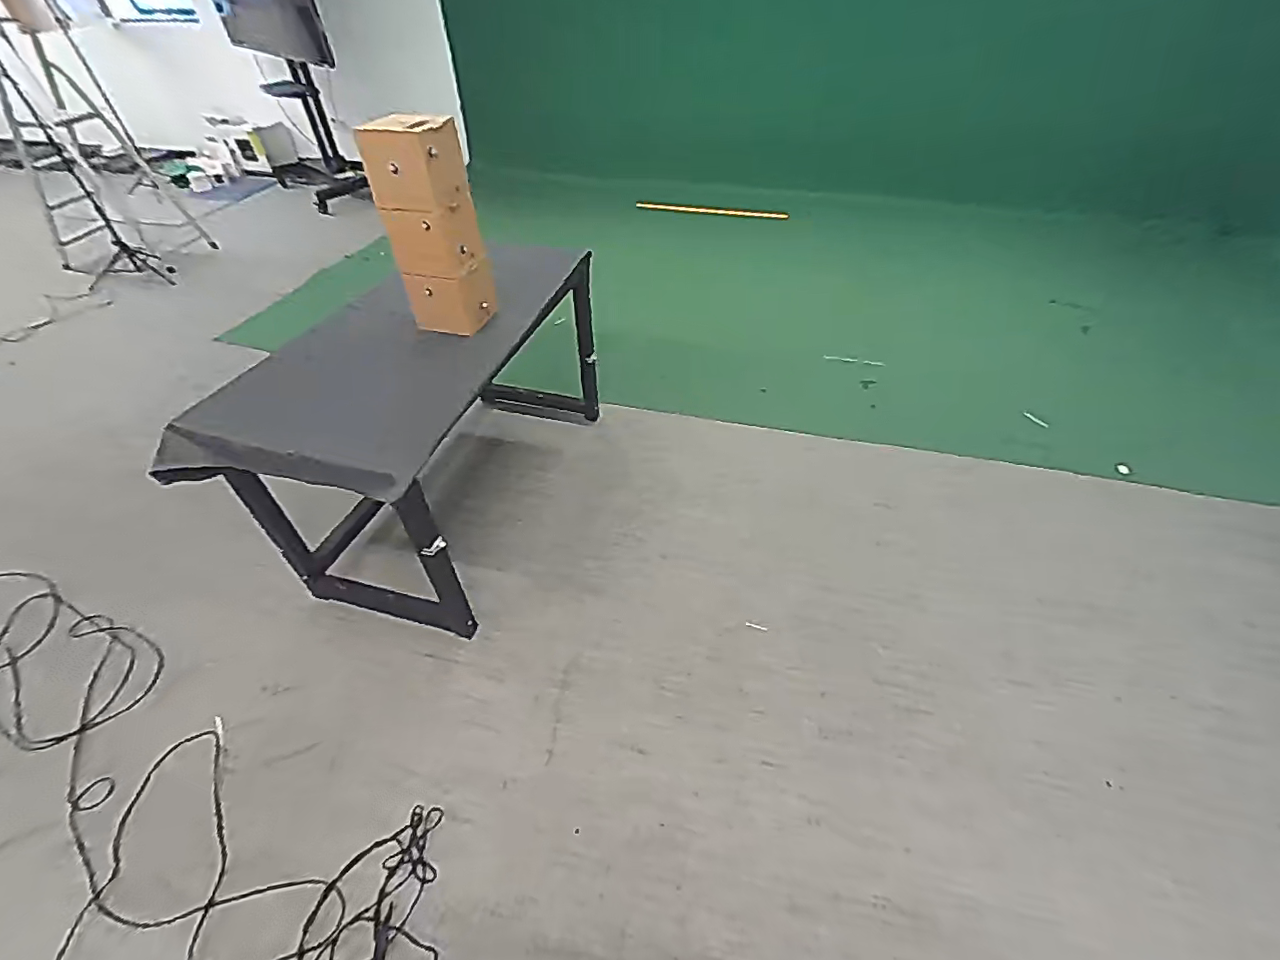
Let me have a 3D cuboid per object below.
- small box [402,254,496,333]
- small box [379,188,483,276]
[{"bbox_3d":[-0.534,-0.535,1.536,0.179,0.176,0.168,11,46,12],"label":"small box"},{"bbox_3d":[-0.541,-0.653,1.424,0.179,0.176,0.168,11,45,12],"label":"small box"}]
